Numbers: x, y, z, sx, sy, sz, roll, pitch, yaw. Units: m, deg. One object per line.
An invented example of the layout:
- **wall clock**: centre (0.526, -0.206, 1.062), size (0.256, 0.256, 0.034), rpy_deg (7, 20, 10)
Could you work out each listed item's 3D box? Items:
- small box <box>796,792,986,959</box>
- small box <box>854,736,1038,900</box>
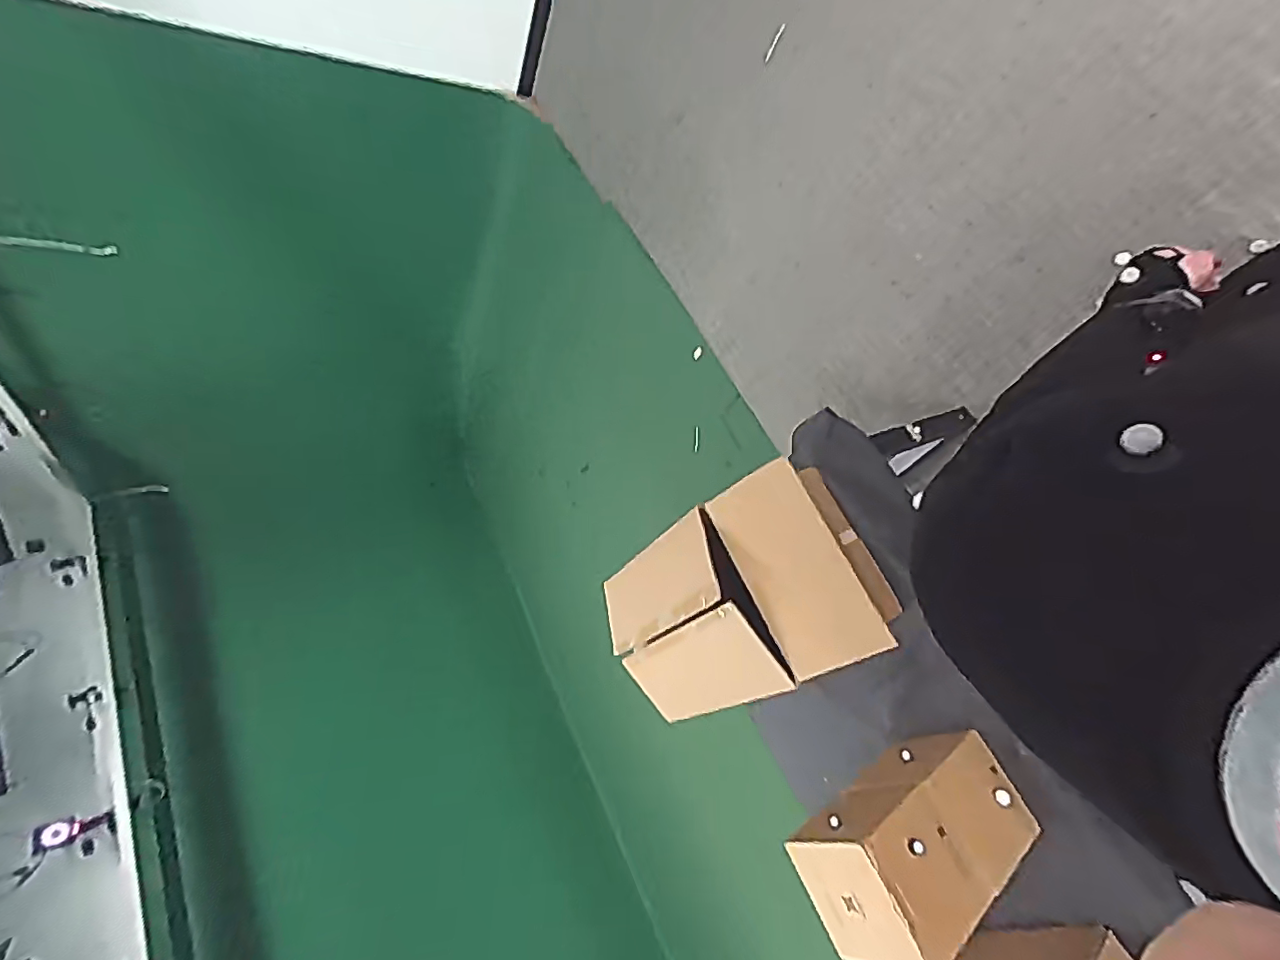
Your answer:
- **small box**: centre (0.382, 0.599, 0.819), size (0.168, 0.176, 0.179), rpy_deg (61, 145, 19)
- **small box**: centre (0.511, 0.559, 0.909), size (0.168, 0.176, 0.179), rpy_deg (60, 143, 18)
